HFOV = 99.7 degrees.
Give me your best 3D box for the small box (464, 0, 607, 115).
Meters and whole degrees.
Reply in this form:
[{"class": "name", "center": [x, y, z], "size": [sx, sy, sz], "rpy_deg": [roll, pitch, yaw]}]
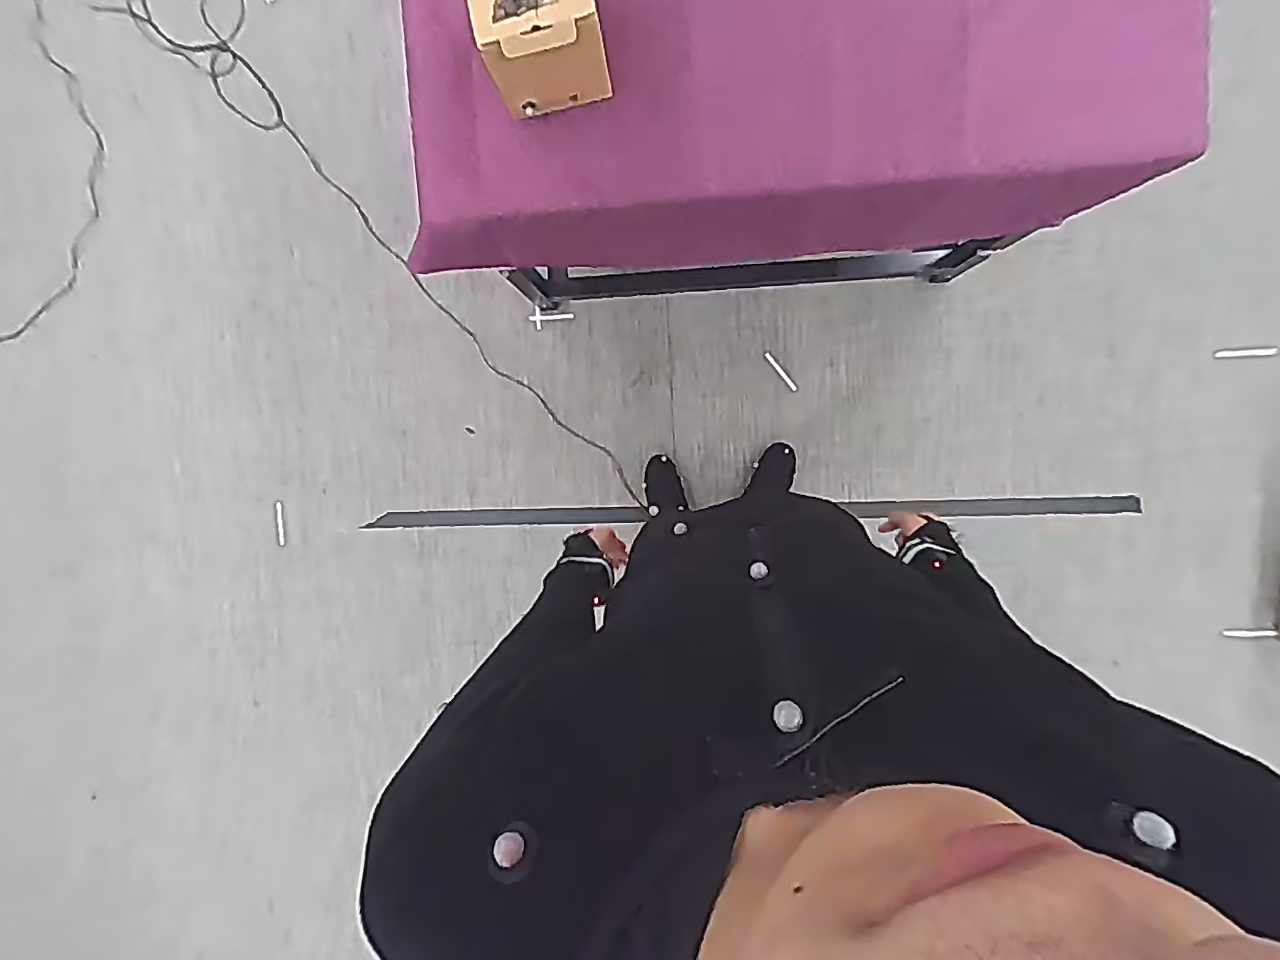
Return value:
[{"class": "small box", "center": [-0.150, -0.669, 0.784], "size": [0.168, 0.176, 0.179], "rpy_deg": [-11, 92, 4]}]
